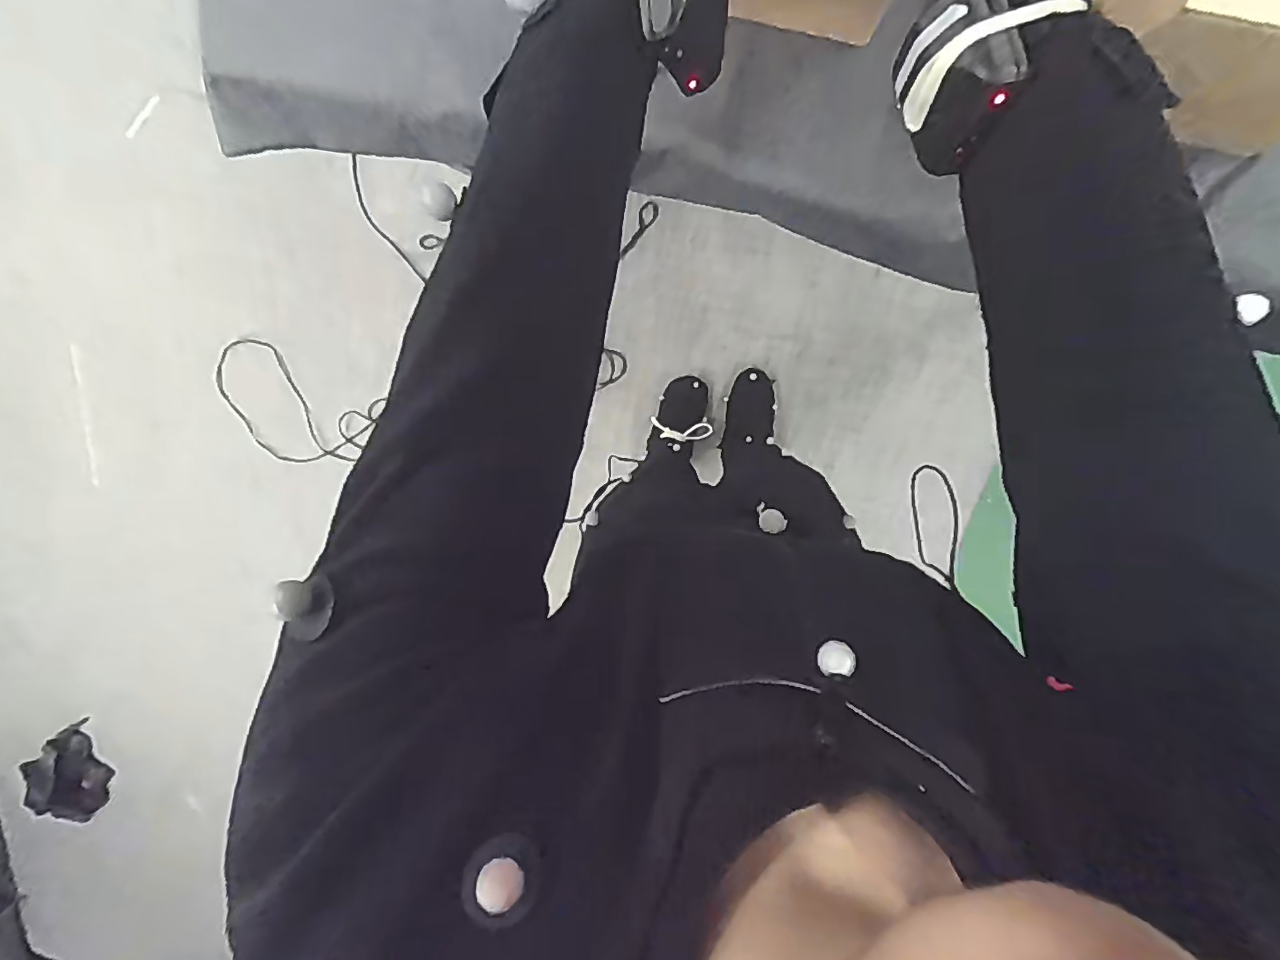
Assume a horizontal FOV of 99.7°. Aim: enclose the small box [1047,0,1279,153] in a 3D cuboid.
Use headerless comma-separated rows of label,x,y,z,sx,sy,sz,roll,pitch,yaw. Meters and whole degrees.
small box,0.426,-0.342,0.357,0.179,0.176,0.168,17,109,5
